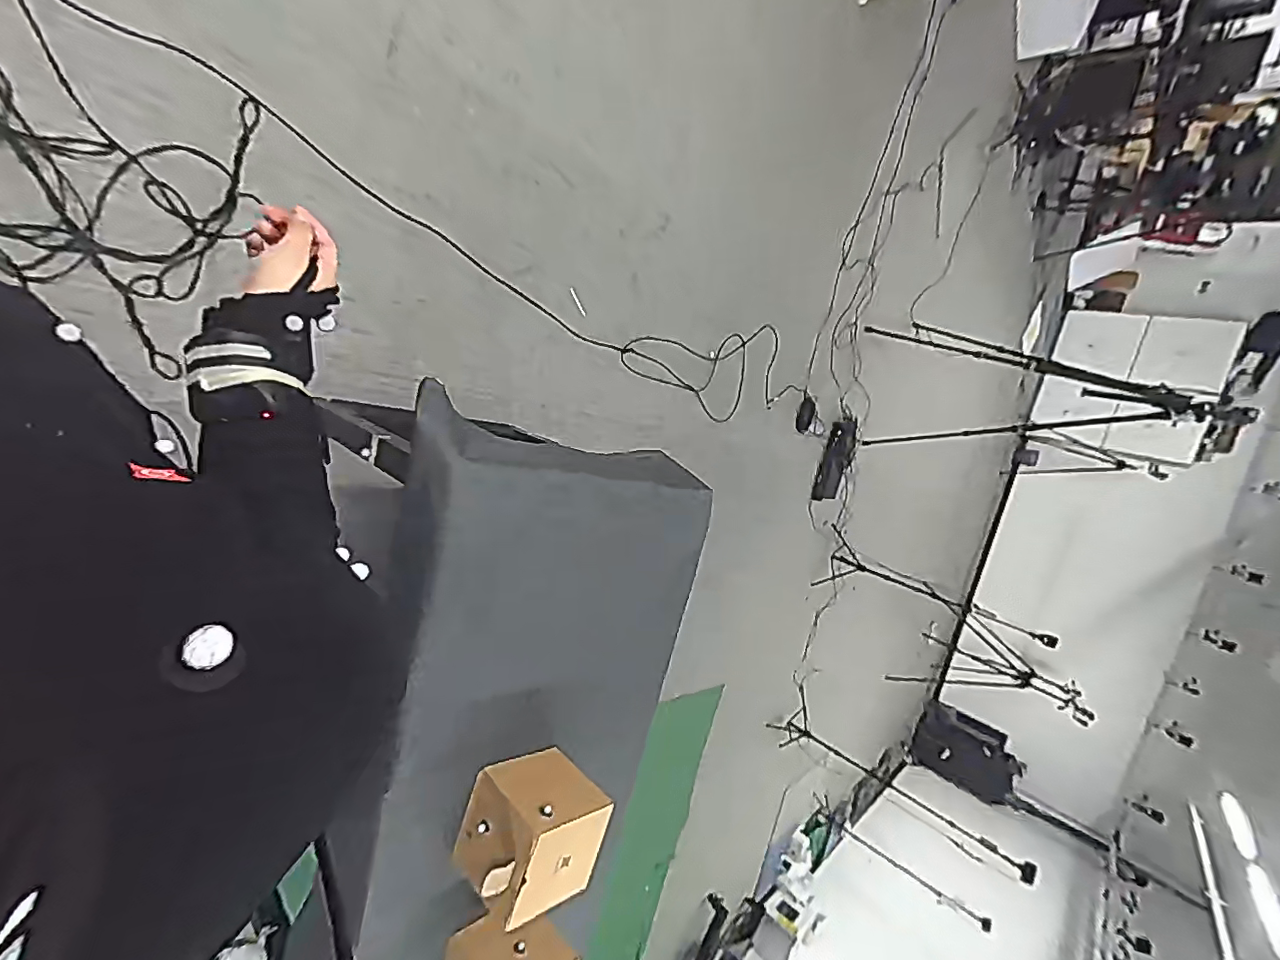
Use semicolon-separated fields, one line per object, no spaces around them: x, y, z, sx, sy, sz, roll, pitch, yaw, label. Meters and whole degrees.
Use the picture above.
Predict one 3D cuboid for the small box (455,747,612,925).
-0.184;0.594;0.934;0.179;0.176;0.168;14;96;-49;small box
